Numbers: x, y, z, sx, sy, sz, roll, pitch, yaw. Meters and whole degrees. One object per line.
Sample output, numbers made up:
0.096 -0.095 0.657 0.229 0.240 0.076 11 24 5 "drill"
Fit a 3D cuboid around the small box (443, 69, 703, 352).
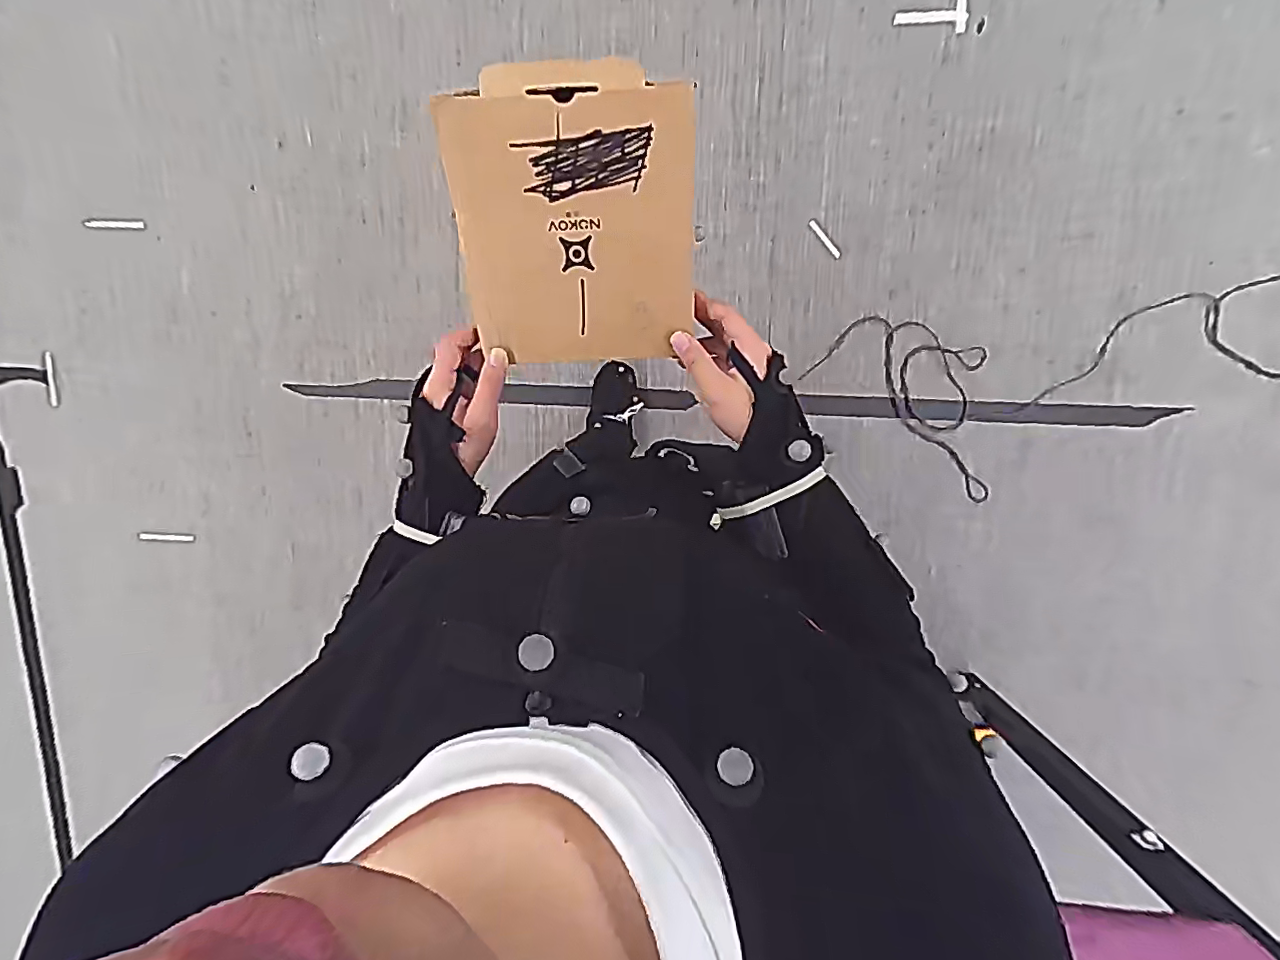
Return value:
-0.043 -0.216 0.445 0.168 0.176 0.179 -2 121 0 "small box"
